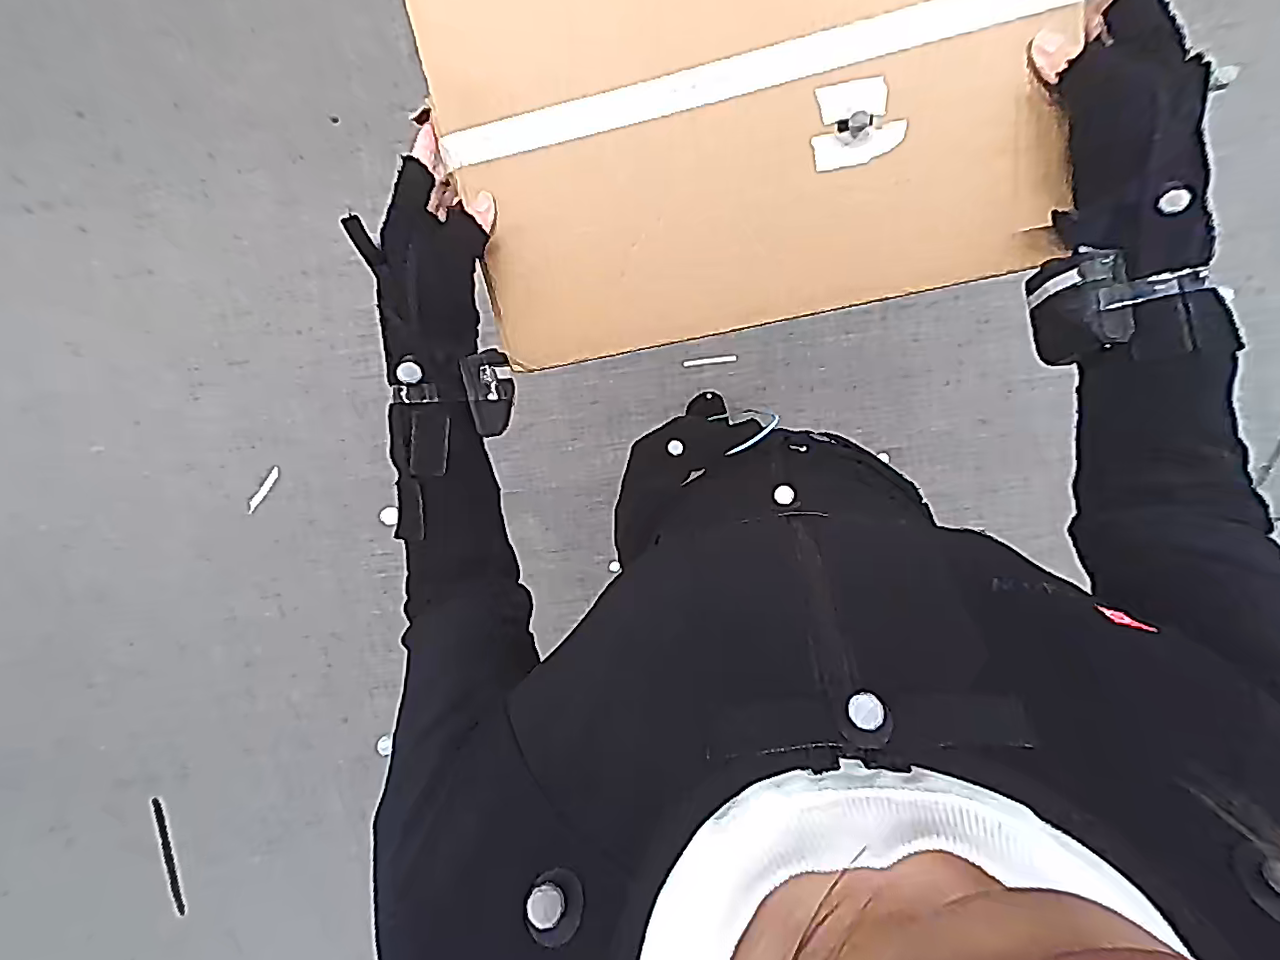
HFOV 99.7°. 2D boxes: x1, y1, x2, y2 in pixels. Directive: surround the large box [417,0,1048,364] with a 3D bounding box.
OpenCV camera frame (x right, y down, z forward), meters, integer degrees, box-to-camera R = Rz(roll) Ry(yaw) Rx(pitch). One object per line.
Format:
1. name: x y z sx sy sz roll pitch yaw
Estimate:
1. large box: 0.071 -0.318 0.506 0.408 0.320 0.320 -10 109 7
